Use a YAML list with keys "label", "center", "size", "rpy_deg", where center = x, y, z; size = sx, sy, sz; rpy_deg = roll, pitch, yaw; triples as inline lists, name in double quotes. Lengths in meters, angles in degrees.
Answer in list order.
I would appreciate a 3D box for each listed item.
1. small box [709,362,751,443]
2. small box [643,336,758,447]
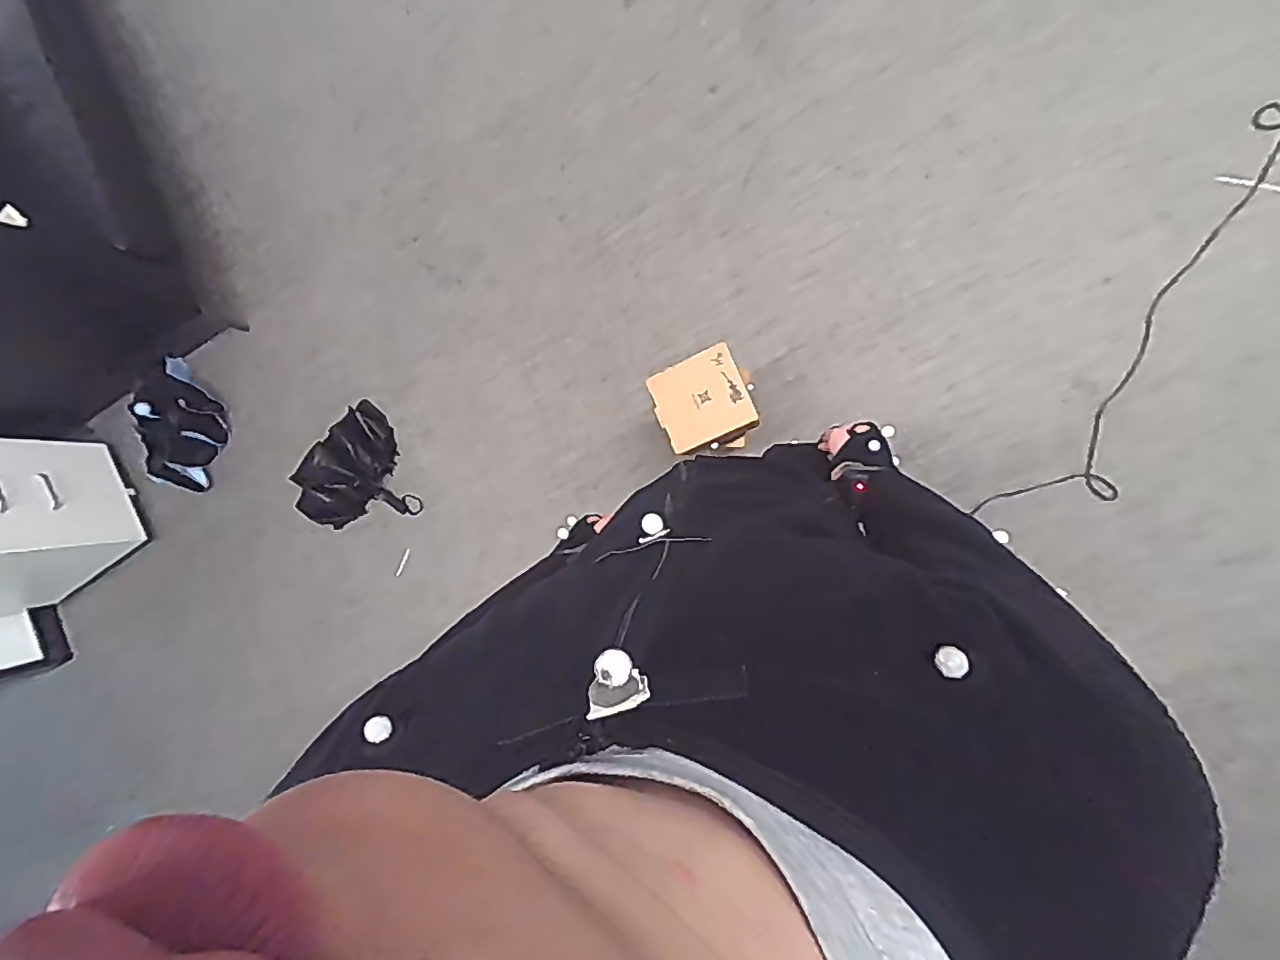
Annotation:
- label: "small box"
  center: [0.171, -0.181, 1.281]
  size: [0.168, 0.176, 0.179]
  rpy_deg: [5, 95, 14]
- label: "small box"
  center: [0.132, -0.173, 1.122]
  size: [0.179, 0.176, 0.168]
  rpy_deg: [-23, 87, 15]
